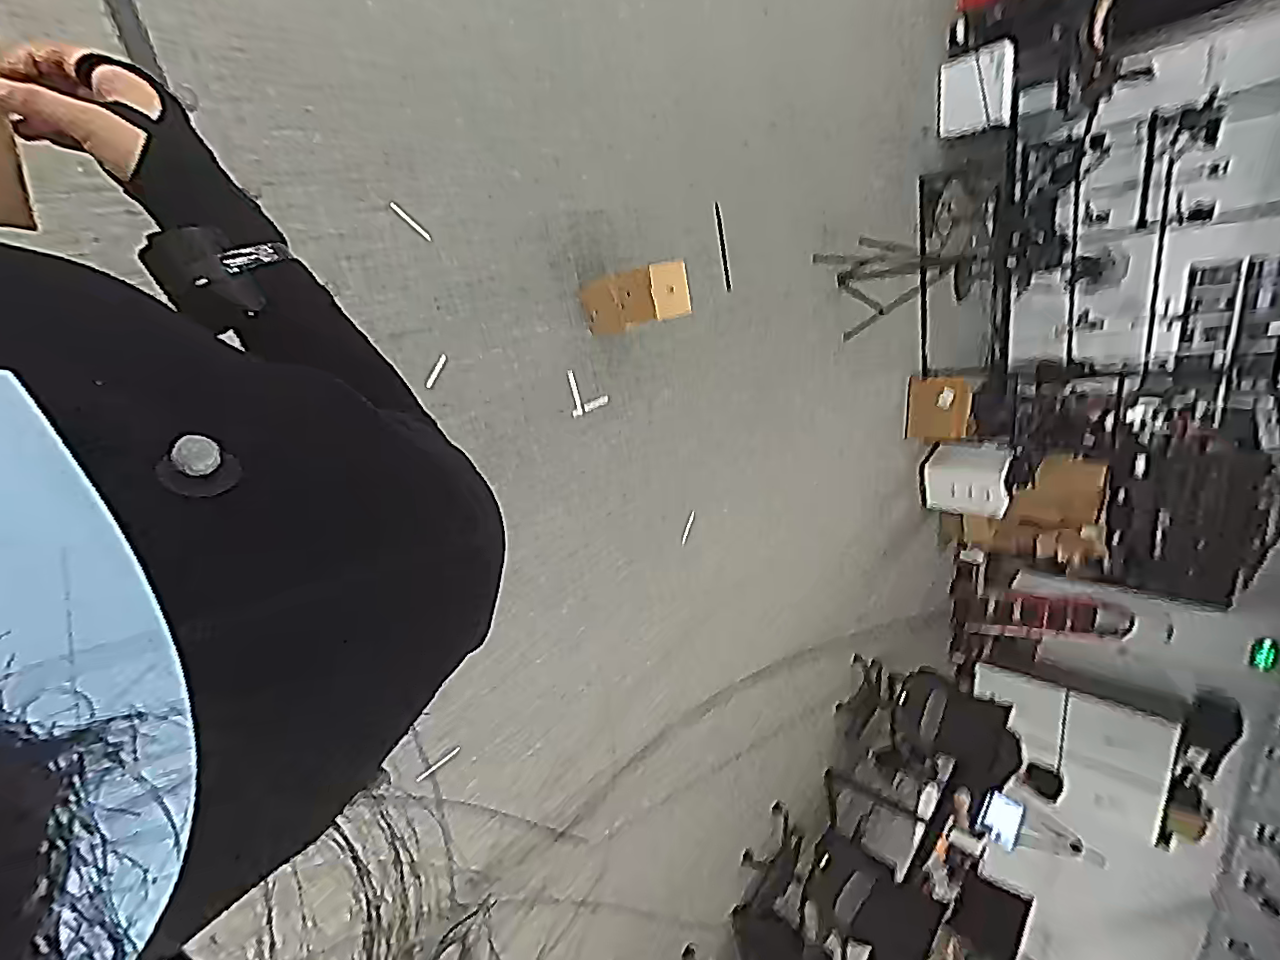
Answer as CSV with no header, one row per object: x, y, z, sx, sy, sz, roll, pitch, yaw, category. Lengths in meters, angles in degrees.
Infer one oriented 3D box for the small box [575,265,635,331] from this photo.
-0.094,-0.634,1.893,0.179,0.176,0.168,-42,124,-33,small box

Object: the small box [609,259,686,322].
0.025,-0.624,1.782,0.179,0.176,0.168,-29,116,-39,small box
